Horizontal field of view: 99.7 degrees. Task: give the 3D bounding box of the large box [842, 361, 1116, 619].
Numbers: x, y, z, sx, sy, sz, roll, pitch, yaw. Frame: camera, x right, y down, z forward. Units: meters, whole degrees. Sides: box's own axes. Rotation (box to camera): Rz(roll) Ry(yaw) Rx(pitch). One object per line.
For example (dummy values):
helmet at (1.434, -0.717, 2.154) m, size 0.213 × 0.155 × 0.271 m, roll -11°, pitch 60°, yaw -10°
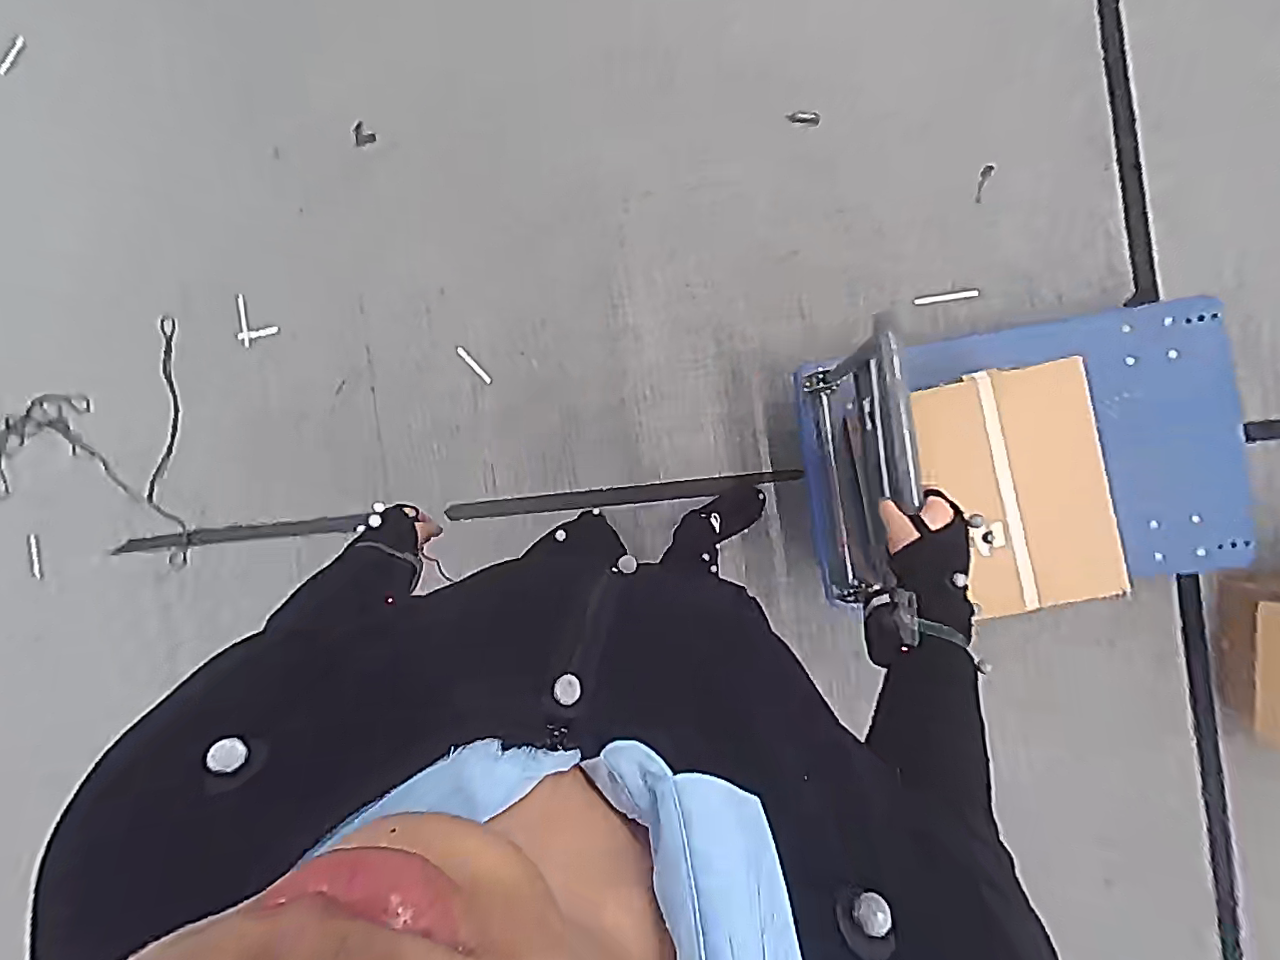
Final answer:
large box at (0.635, 0.015, 1.079) m, size 0.320 × 0.320 × 0.408 m, roll -12°, pitch 91°, yaw 8°
